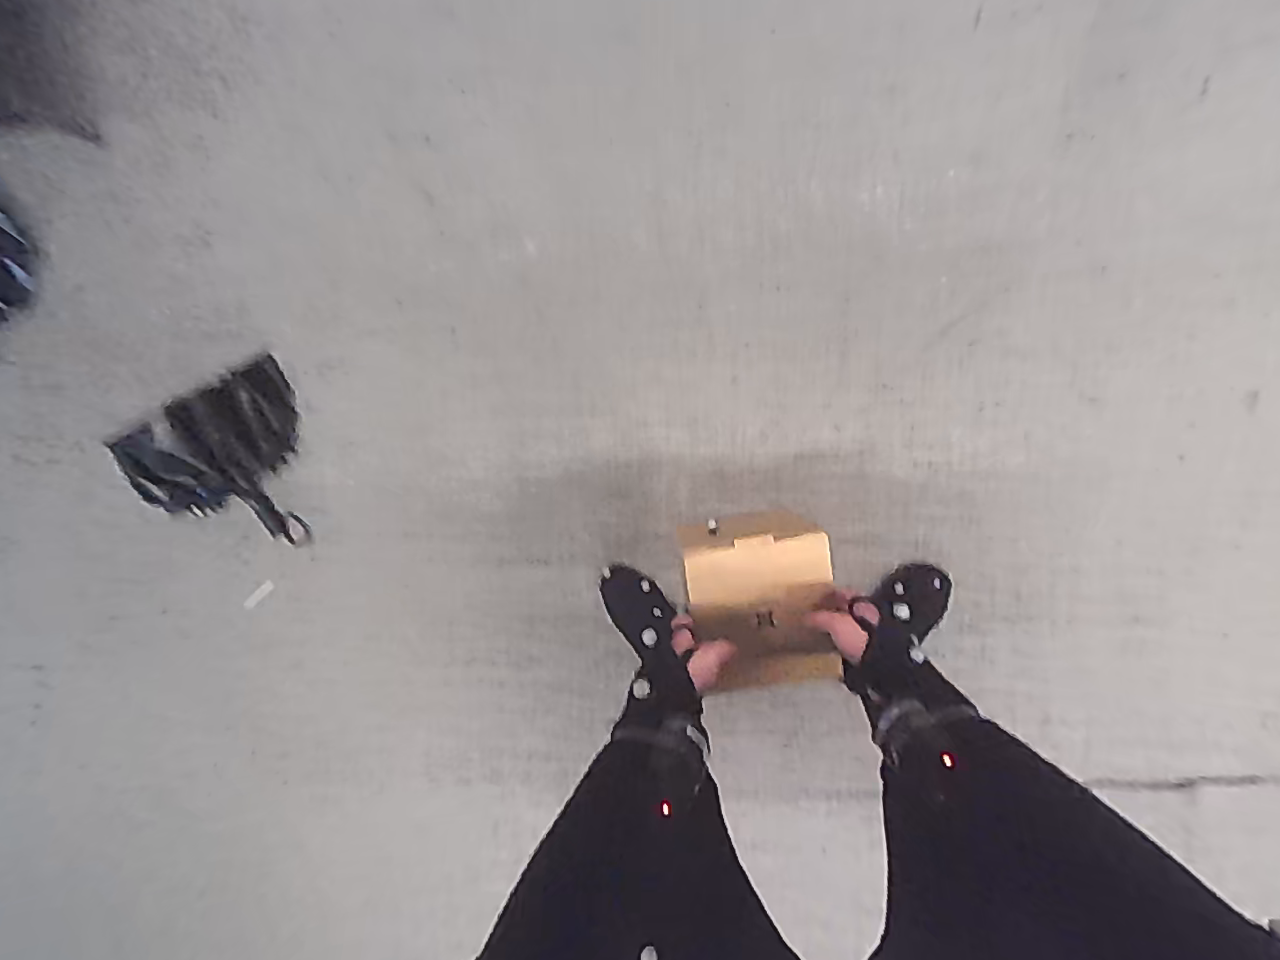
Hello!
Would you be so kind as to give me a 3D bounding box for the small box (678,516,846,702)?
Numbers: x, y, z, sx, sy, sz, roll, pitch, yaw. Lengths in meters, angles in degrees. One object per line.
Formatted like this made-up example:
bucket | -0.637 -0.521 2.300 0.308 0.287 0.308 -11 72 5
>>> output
small box | 0.142 0.148 0.684 0.168 0.176 0.179 -8 98 2
